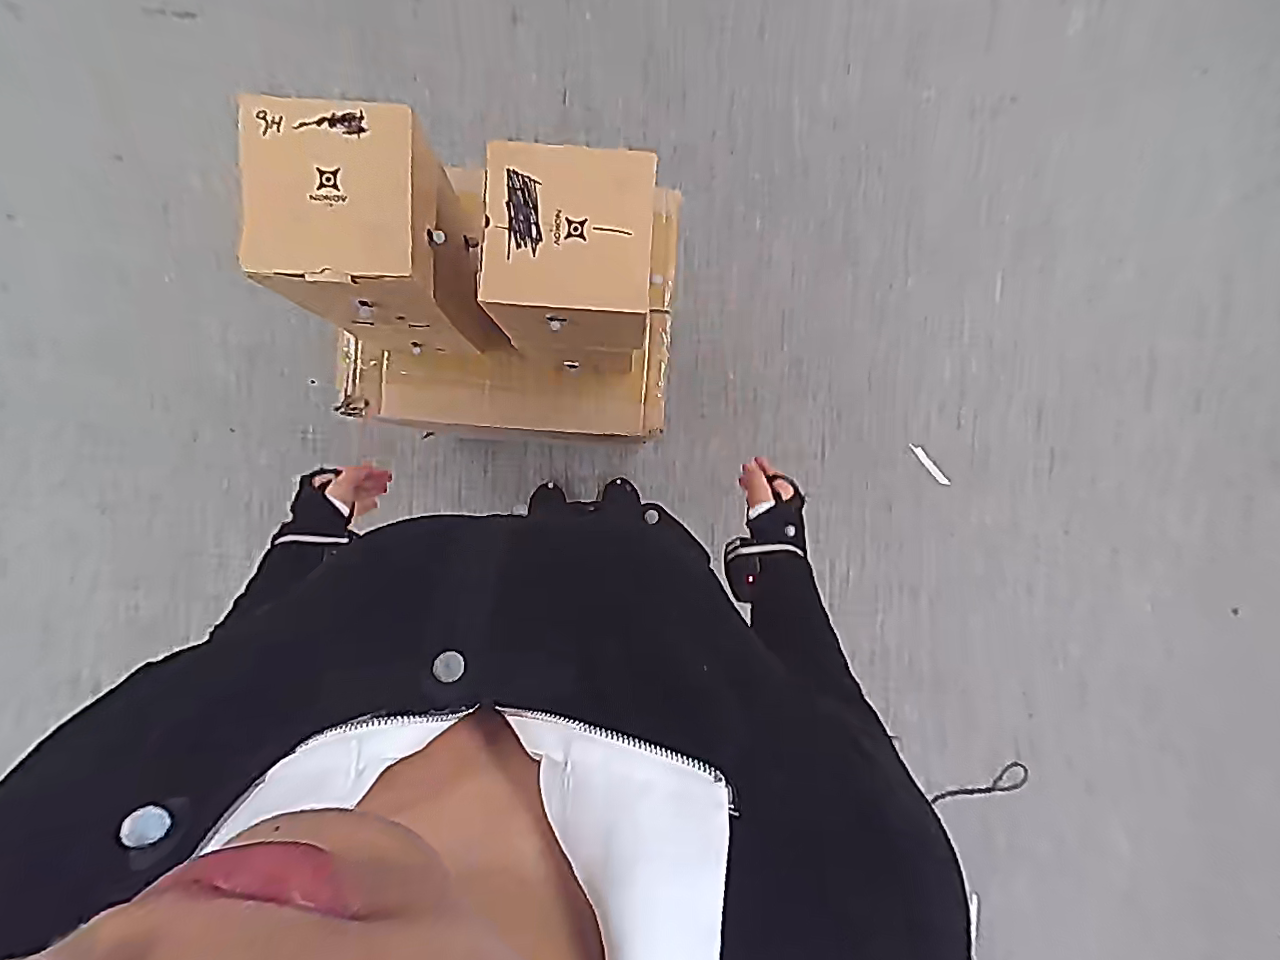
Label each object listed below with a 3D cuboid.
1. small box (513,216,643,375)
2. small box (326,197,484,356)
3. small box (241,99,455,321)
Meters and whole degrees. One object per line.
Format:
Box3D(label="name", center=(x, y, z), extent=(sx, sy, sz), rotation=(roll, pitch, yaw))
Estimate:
Box3D(label="small box", center=(-0.085, -0.261, 0.798), extent=(0.168, 0.176, 0.179), rotation=(3, 92, -1))
Box3D(label="small box", center=(-0.326, -0.288, 0.781), extent=(0.168, 0.176, 0.179), rotation=(2, 91, -4))
Box3D(label="small box", center=(-0.315, -0.289, 0.617), extent=(0.168, 0.176, 0.179), rotation=(1, 91, -4))
